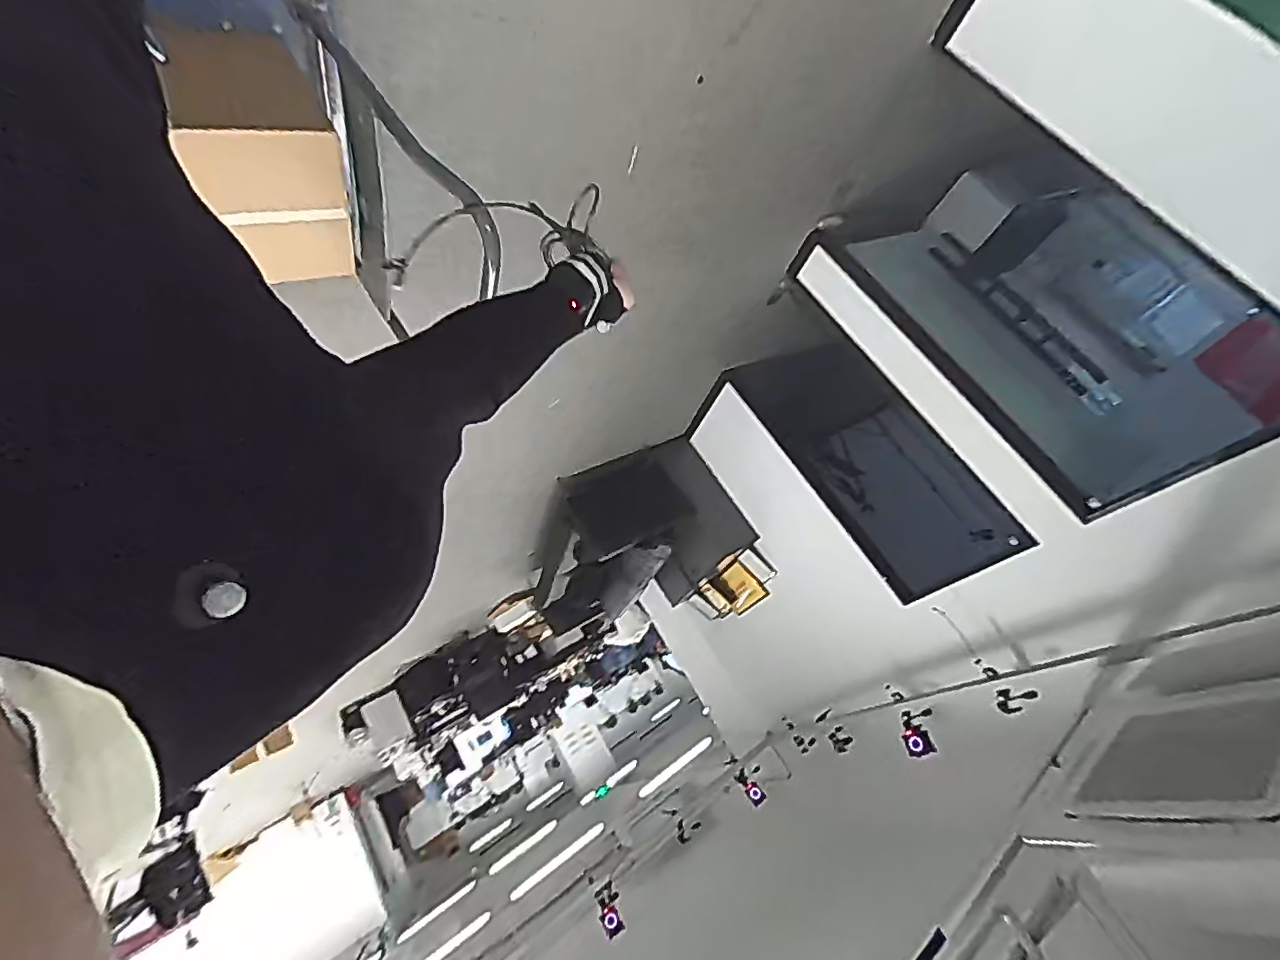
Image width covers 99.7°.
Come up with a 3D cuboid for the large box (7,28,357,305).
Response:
[{"bbox_3d":[-0.816,-0.584,1.027,0.408,0.320,0.320,-22,158,-32],"label":"large box"}]
